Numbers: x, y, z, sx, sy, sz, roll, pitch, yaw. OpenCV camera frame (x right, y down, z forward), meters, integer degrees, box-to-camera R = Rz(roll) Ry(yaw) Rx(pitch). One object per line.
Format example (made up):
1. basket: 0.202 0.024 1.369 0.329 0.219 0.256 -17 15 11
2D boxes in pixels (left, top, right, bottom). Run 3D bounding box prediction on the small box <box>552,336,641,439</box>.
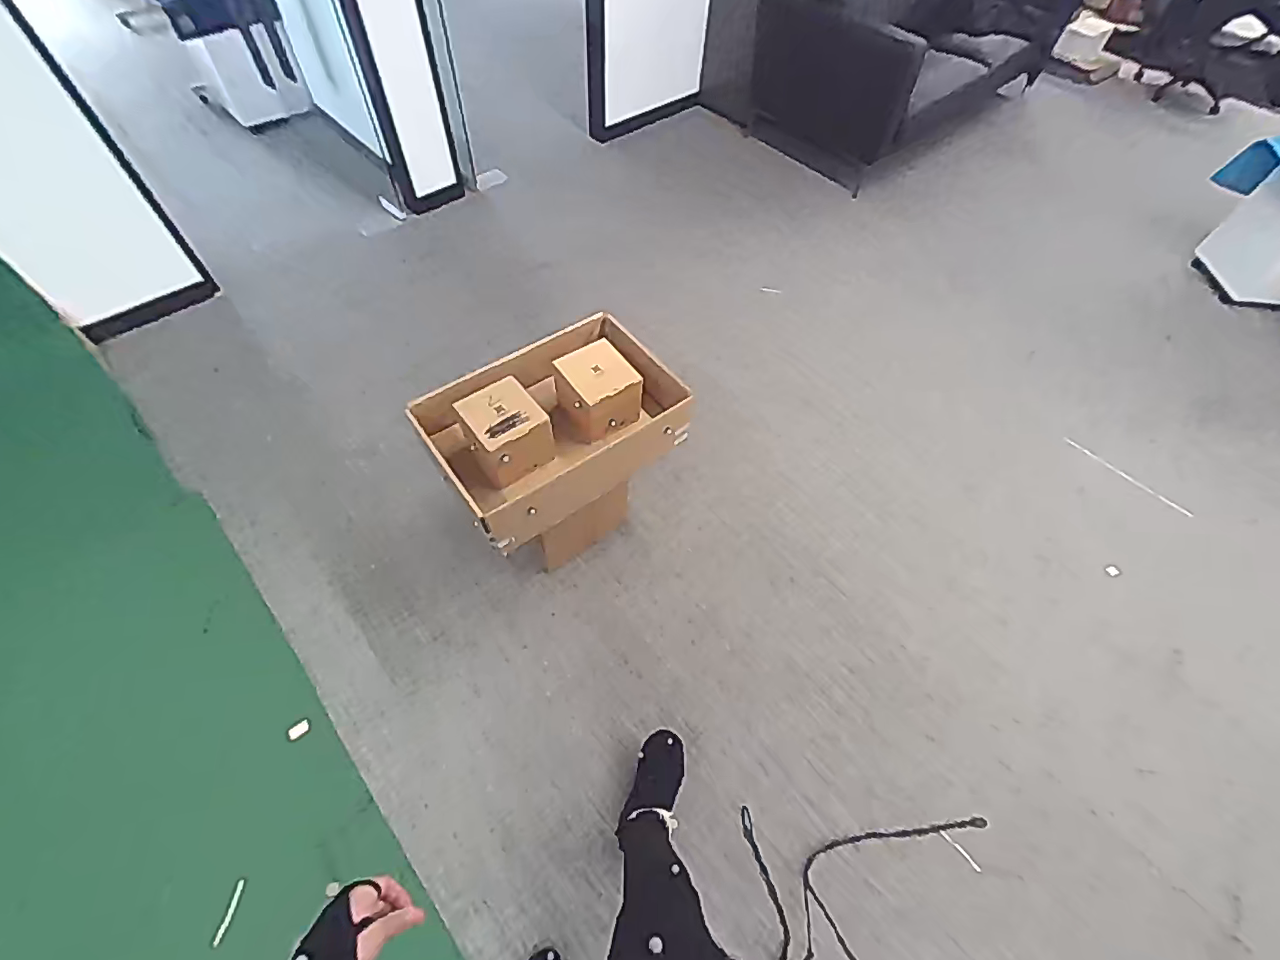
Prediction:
1. small box: -0.117 -0.241 1.431 0.168 0.176 0.179 -31 65 -21
